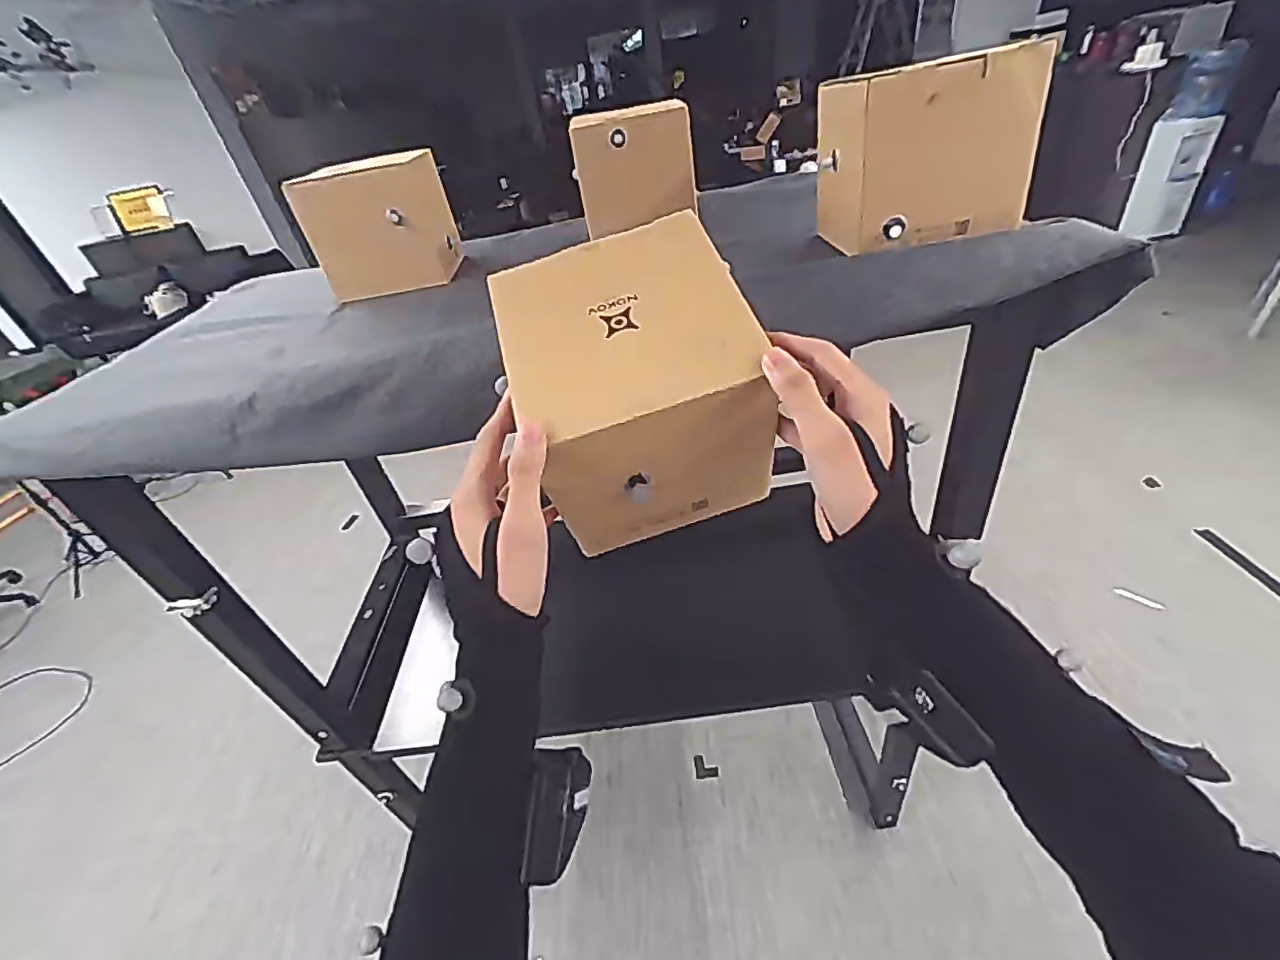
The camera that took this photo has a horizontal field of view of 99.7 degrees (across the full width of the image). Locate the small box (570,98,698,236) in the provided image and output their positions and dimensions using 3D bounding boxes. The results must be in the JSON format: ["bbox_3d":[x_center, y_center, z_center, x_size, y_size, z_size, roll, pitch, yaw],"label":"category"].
[{"bbox_3d":[-0.007,-0.471,0.831,0.168,0.176,0.179,-10,36,2],"label":"small box"}]

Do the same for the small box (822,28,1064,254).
[{"bbox_3d":[0.305,-0.356,0.588,0.168,0.176,0.179,-8,33,5],"label":"small box"}]

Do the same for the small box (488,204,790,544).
[{"bbox_3d":[0.001,-0.067,0.418,0.168,0.176,0.179,-18,58,-1],"label":"small box"}]
